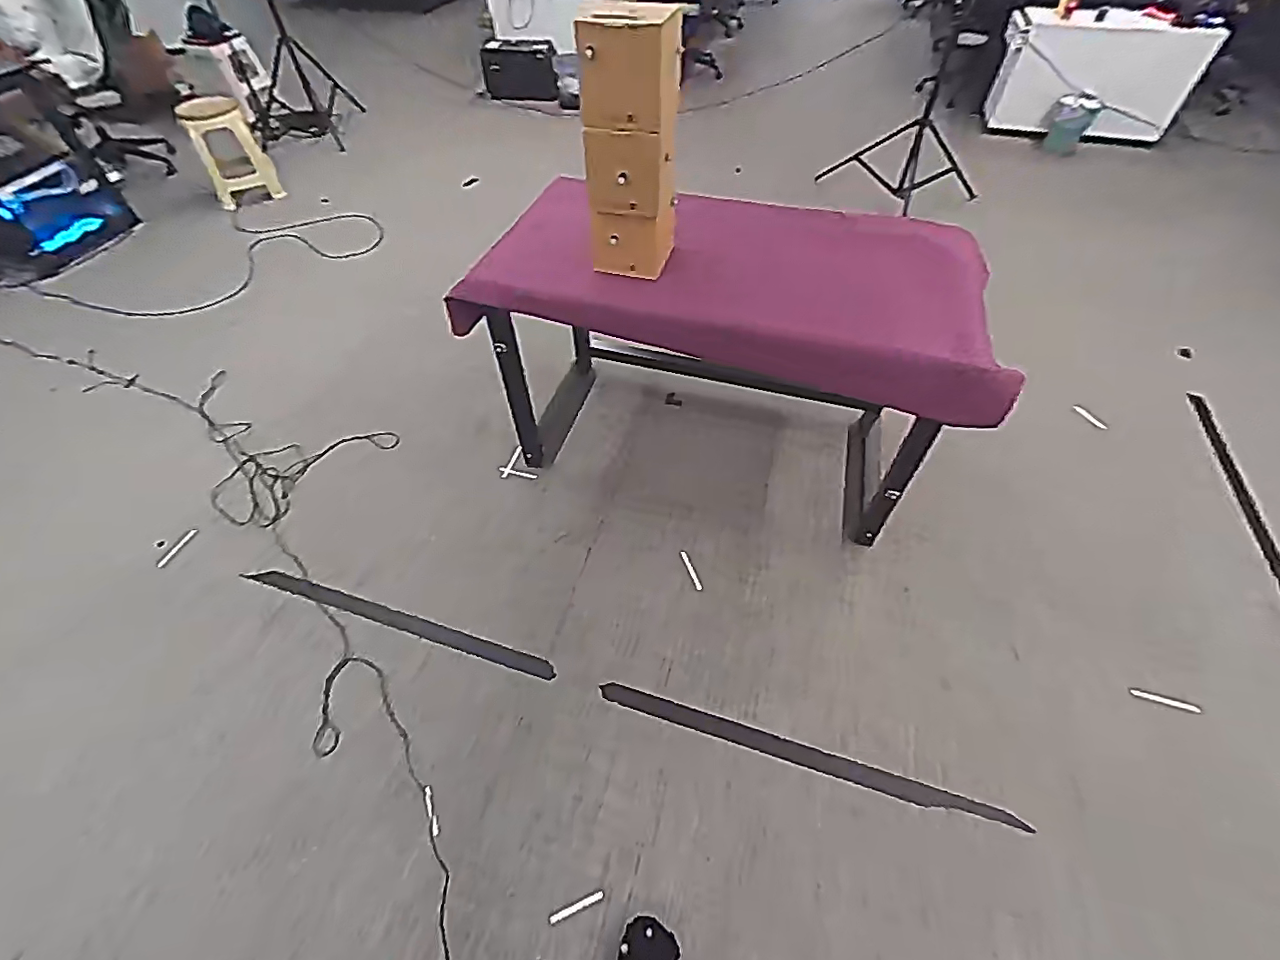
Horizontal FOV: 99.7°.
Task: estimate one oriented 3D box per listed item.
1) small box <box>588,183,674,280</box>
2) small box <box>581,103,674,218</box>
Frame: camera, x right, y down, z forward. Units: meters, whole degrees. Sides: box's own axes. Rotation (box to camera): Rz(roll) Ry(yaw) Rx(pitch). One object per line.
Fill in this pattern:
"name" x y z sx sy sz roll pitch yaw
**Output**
"small box" -0.017 -0.617 1.334 0.168 0.176 0.179 12 53 11
"small box" -0.021 -0.702 1.192 0.168 0.176 0.179 9 53 8
